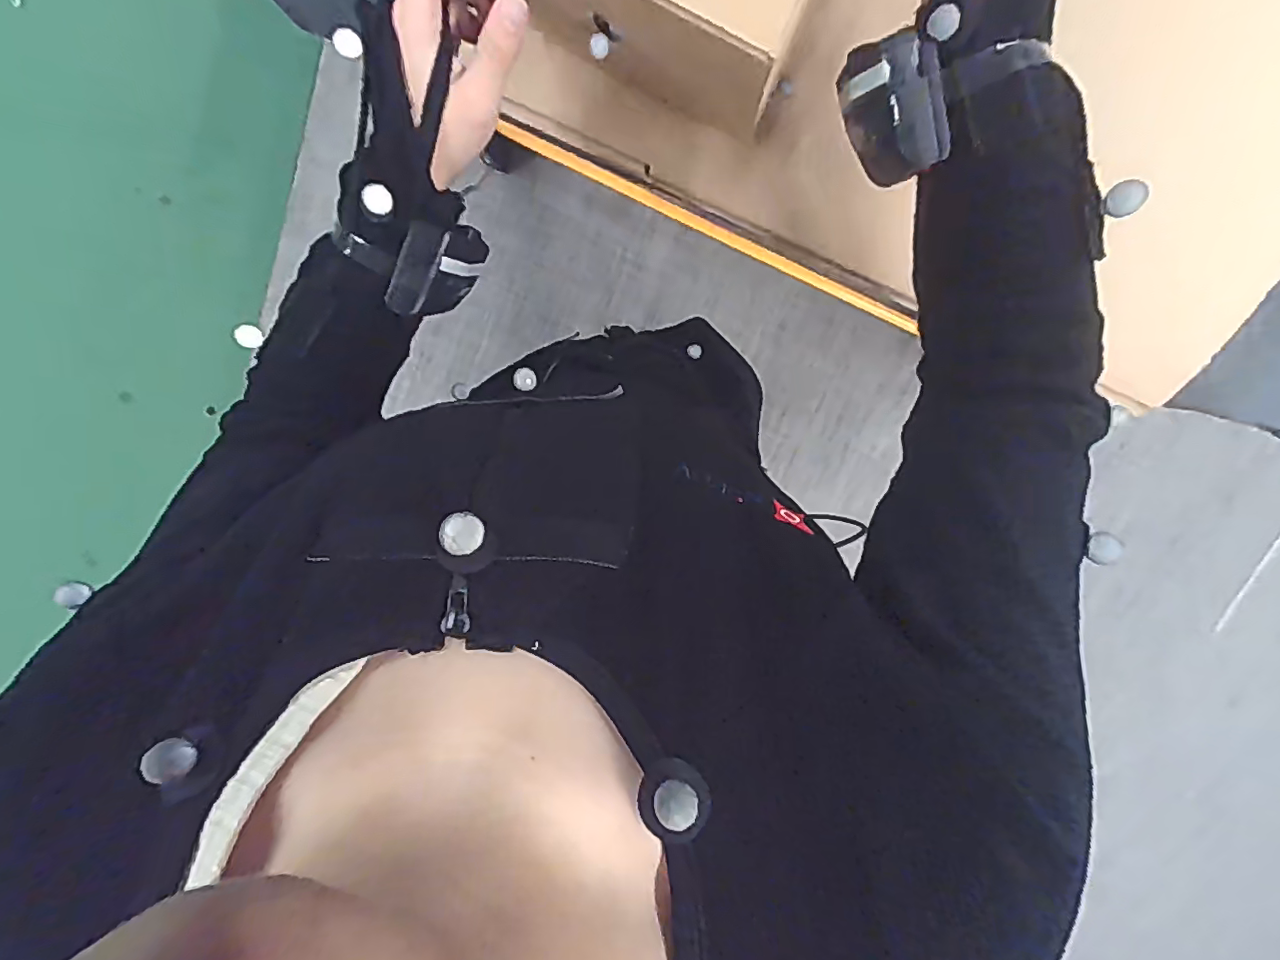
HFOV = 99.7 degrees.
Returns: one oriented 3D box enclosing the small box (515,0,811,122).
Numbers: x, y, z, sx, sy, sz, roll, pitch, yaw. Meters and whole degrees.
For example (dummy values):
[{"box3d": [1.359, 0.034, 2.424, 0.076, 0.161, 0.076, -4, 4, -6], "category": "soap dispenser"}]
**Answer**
[{"box3d": [0.024, -0.316, 0.276, 0.179, 0.176, 0.168, 26, 113, -3], "category": "small box"}]
